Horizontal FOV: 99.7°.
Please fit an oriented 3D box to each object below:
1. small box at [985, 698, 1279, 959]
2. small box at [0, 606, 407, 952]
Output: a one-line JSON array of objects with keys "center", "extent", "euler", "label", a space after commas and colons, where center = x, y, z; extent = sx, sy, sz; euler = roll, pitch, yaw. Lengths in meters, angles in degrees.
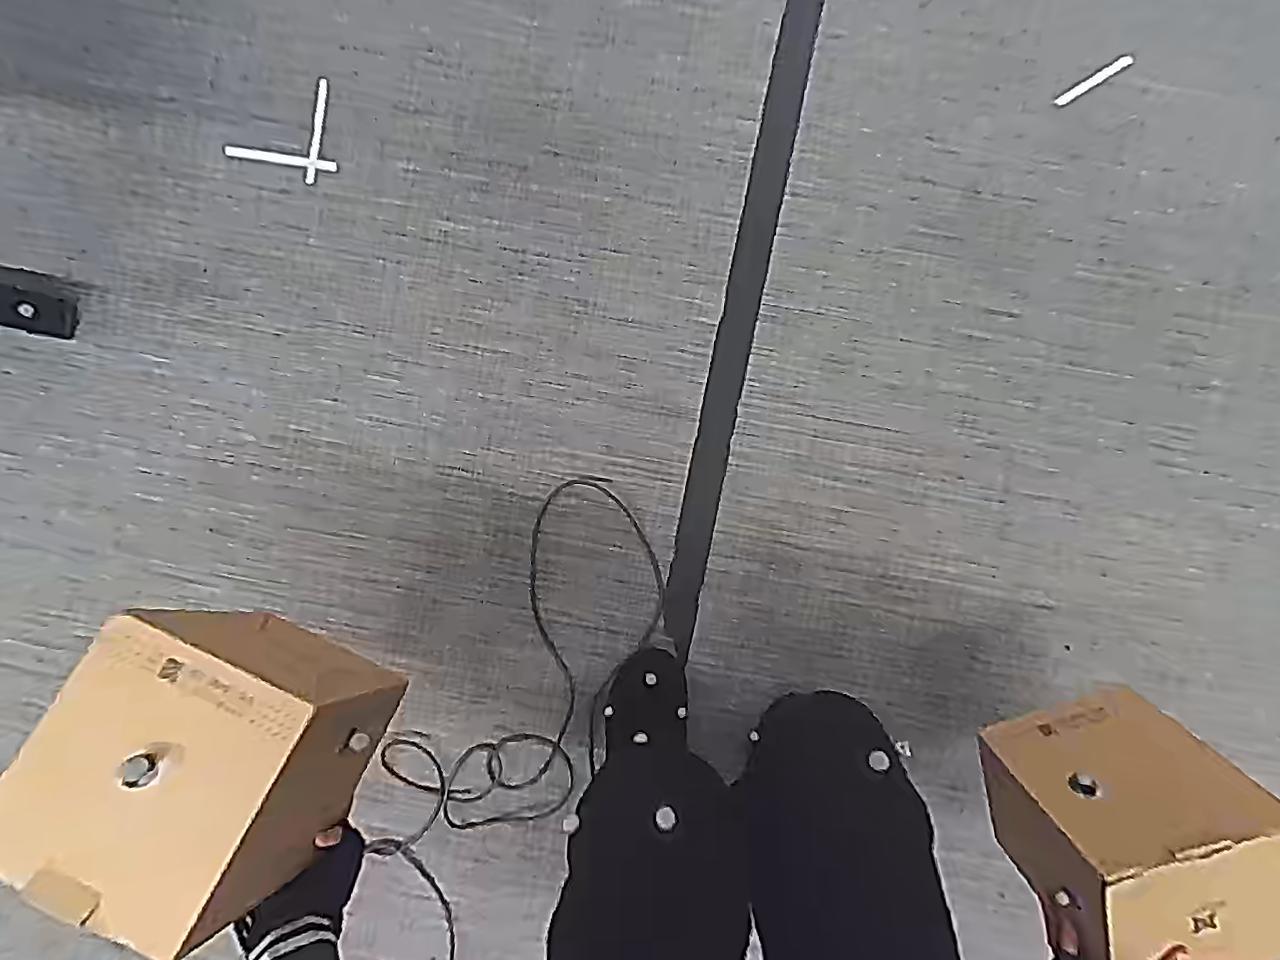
[{"center": [0.474, 0.344, 0.533], "extent": [0.168, 0.176, 0.179], "euler": [-19, 109, 4], "label": "small box"}, {"center": [-0.327, 0.210, 0.438], "extent": [0.168, 0.179, 0.176], "euler": [24, 74, 5], "label": "small box"}]
